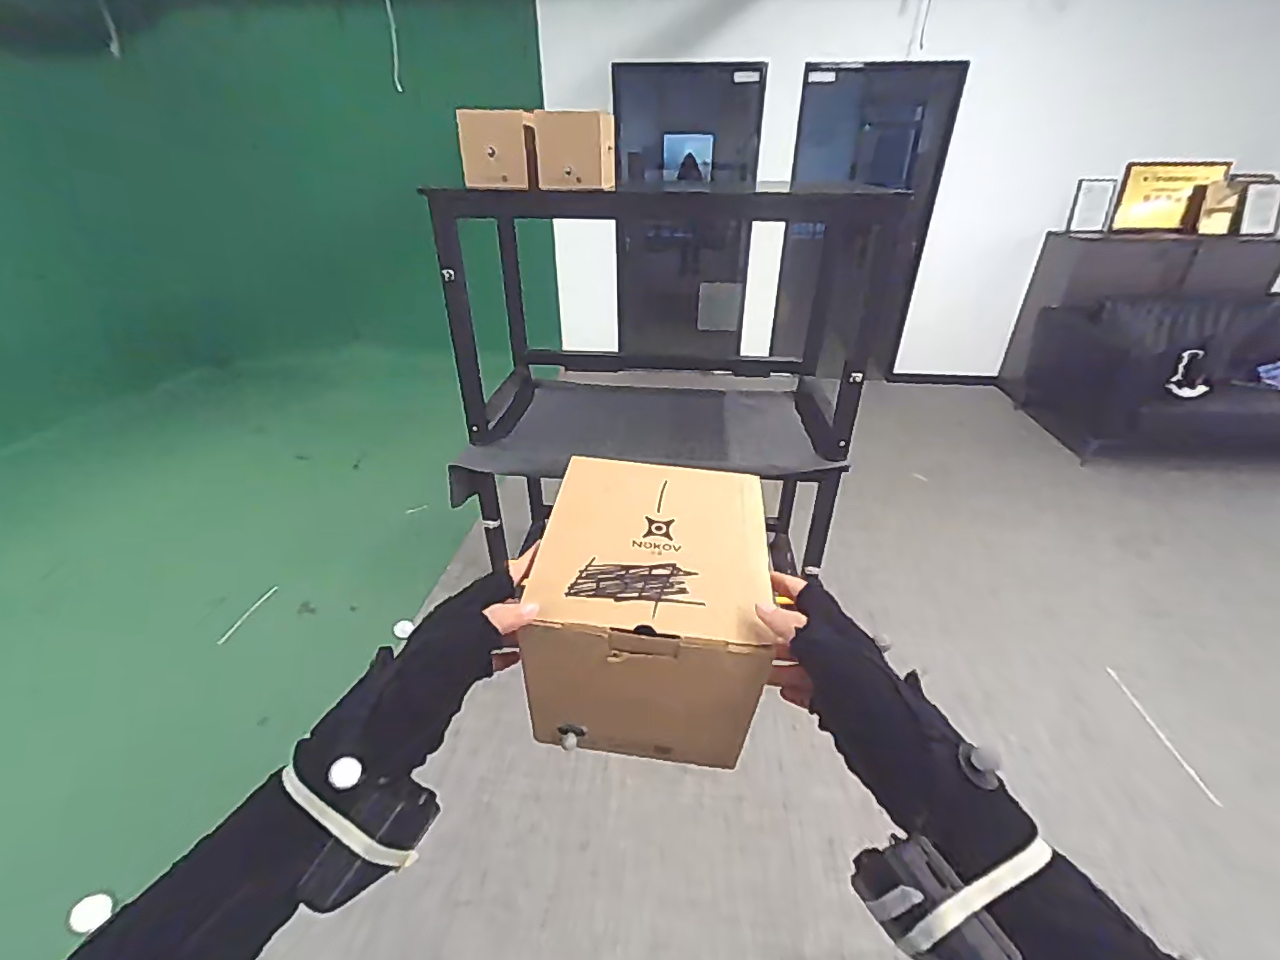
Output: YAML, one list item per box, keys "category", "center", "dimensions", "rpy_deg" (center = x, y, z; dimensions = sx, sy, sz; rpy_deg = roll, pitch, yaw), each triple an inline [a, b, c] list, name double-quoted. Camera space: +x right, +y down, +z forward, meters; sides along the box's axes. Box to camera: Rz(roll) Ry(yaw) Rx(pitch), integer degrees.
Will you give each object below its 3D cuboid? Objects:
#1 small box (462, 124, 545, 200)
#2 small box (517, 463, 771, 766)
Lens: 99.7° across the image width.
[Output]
- category: "small box"
  center: [-0.353, -0.842, 1.438]
  dimensions: [0.168, 0.176, 0.179]
  rpy_deg: [4, 30, 4]
- category: "small box"
  center: [0.010, 0.109, 0.452]
  dimensions: [0.168, 0.176, 0.179]
  rpy_deg: [7, 38, 4]
